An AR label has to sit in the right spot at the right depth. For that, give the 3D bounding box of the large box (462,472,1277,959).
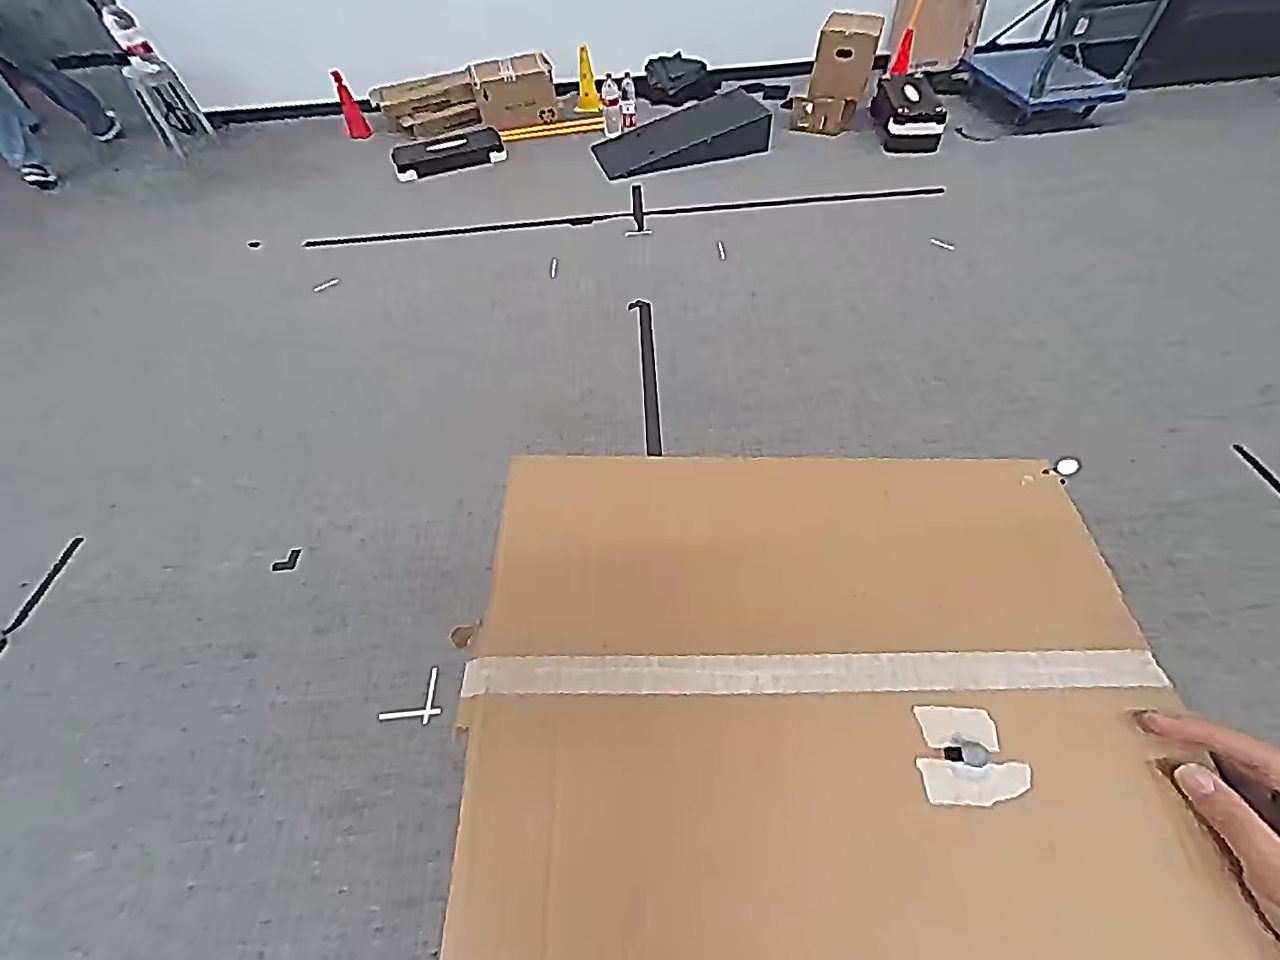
[{"bbox_3d":[0.102,0.204,0.452,0.408,0.320,0.320,0,58,-3],"label":"large box"}]
